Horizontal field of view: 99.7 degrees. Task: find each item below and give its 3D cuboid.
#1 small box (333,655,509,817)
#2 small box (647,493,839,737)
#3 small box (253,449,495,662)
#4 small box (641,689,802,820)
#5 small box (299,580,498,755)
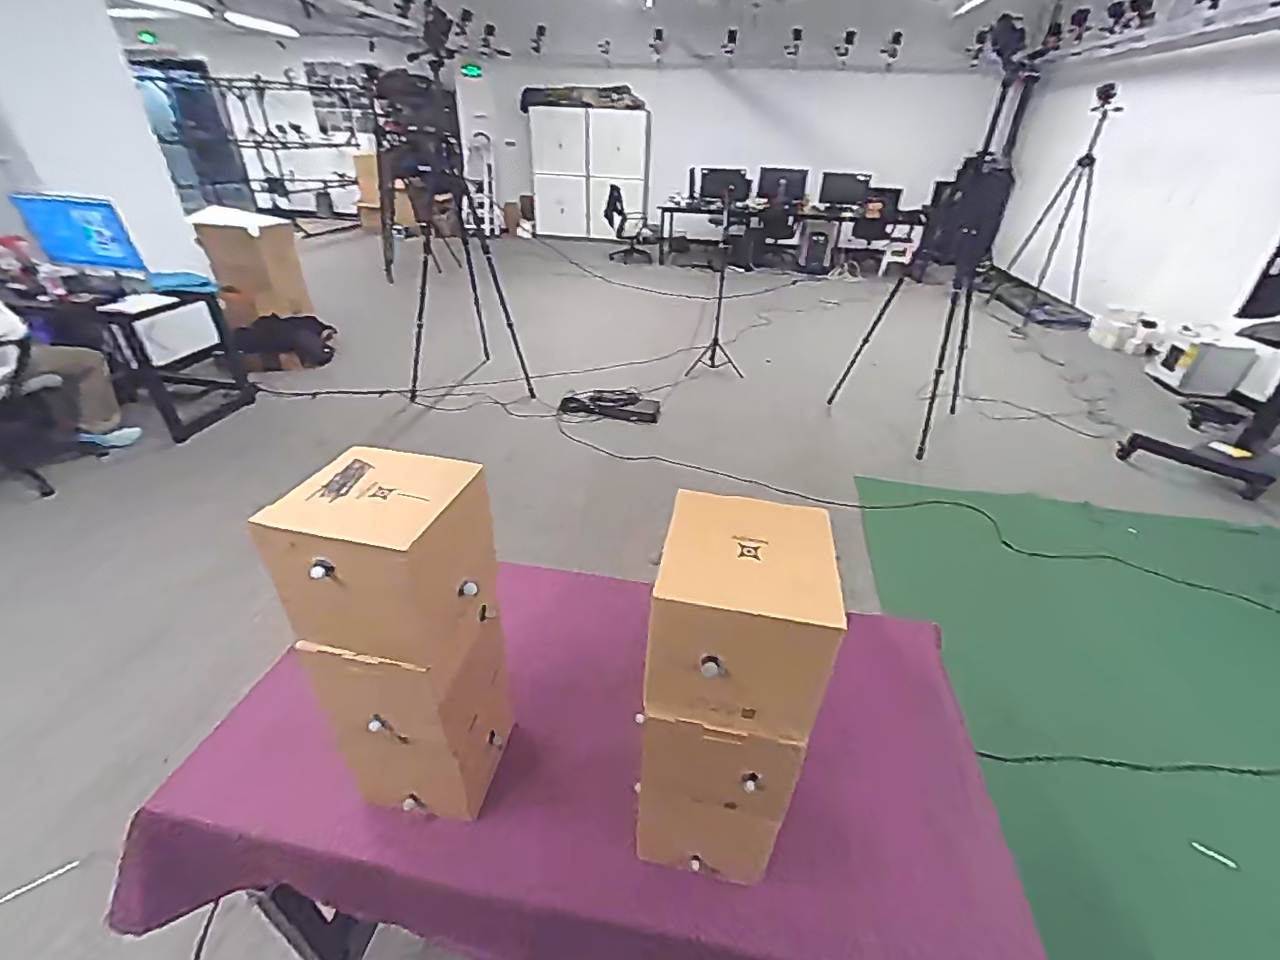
[{"bbox_3d":[-0.305,0.365,0.799,0.179,0.176,0.168,7,32,6],"label":"small box"},{"bbox_3d":[0.101,0.138,0.573,0.168,0.176,0.179,8,33,8],"label":"small box"},{"bbox_3d":[-0.286,0.084,0.626,0.179,0.176,0.168,9,33,9],"label":"small box"},{"bbox_3d":[0.097,0.275,0.660,0.168,0.176,0.179,8,33,8],"label":"small box"},{"bbox_3d":[-0.298,0.223,0.714,0.168,0.176,0.179,7,33,8],"label":"small box"}]
